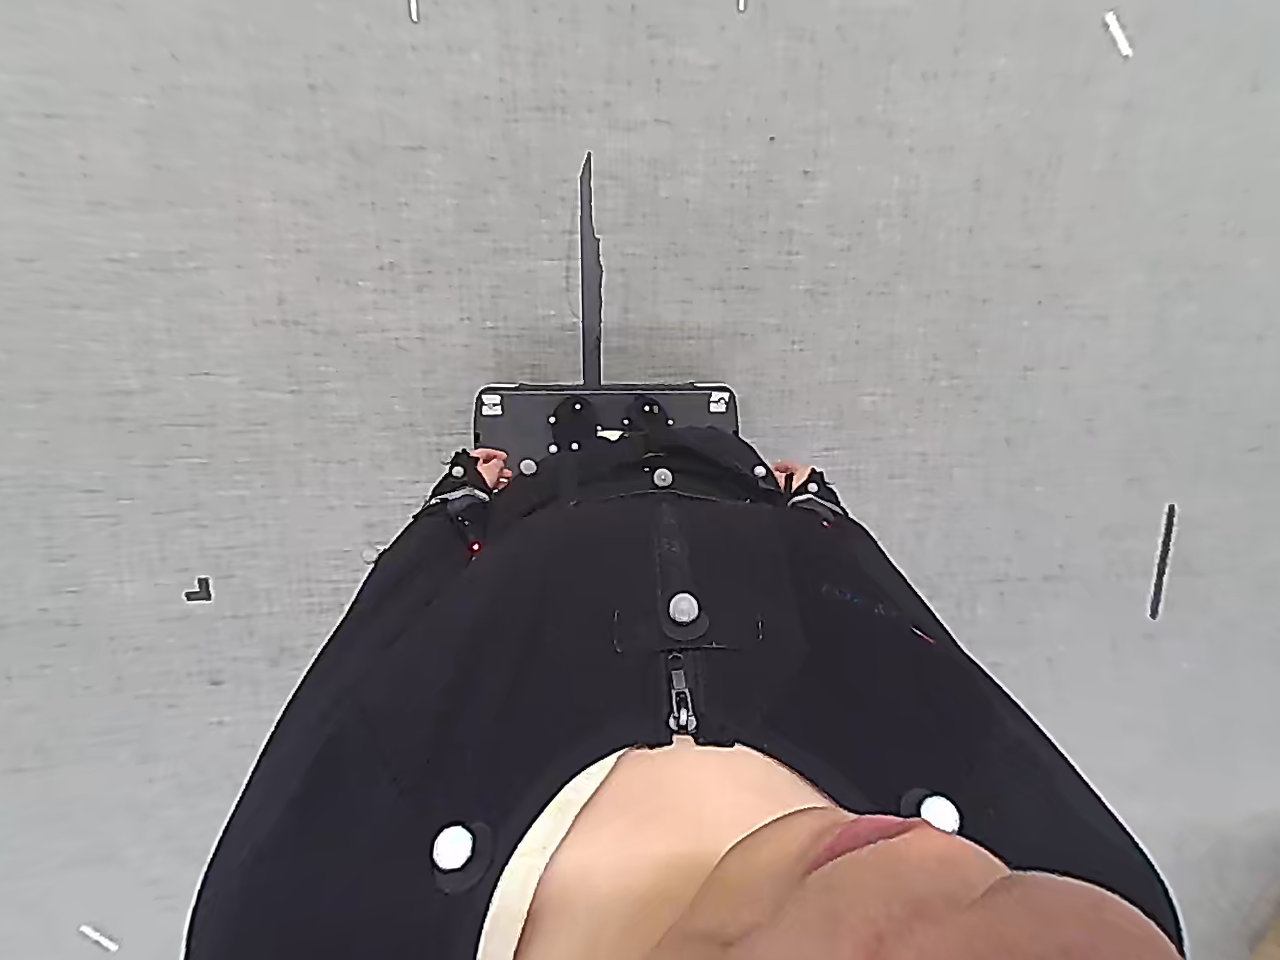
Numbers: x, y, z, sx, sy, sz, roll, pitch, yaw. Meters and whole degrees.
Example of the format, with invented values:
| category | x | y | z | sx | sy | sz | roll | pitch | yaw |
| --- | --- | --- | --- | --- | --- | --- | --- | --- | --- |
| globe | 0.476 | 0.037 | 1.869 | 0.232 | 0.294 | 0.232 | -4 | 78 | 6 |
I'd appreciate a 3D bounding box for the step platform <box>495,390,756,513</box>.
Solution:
| category | x | y | z | sx | sy | sz | roll | pitch | yaw |
| --- | --- | --- | --- | --- | --- | --- | --- | --- | --- |
| step platform | -0.037 | -0.076 | 1.450 | 0.684 | 0.204 | 0.286 | 3 | 100 | -5 |
